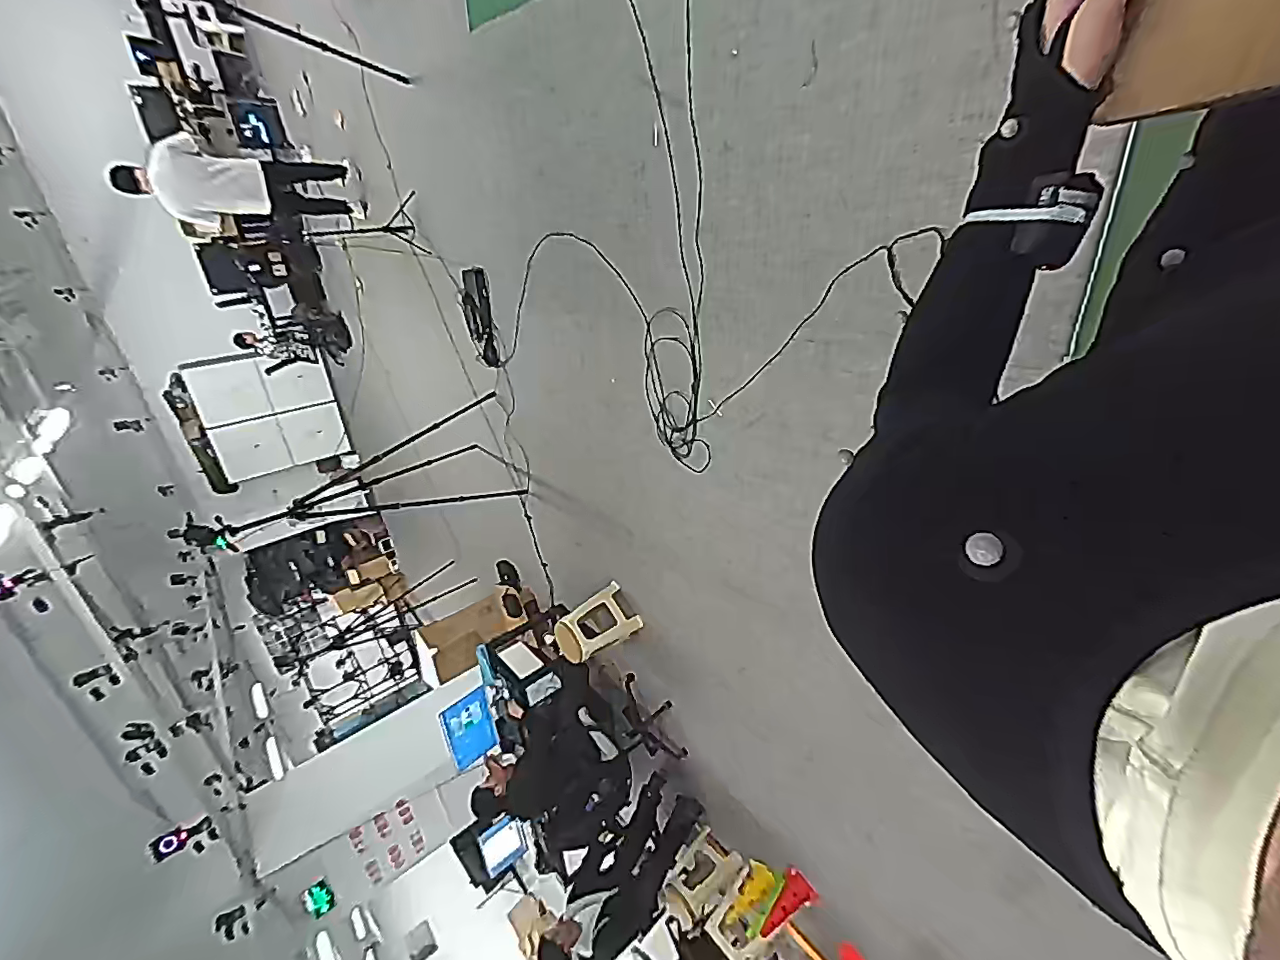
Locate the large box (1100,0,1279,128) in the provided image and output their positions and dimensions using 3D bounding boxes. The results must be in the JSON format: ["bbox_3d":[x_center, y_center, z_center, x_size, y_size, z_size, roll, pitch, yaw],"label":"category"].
[{"bbox_3d":[0.574,-0.445,0.321,0.408,0.320,0.320,14,123,45],"label":"large box"}]
